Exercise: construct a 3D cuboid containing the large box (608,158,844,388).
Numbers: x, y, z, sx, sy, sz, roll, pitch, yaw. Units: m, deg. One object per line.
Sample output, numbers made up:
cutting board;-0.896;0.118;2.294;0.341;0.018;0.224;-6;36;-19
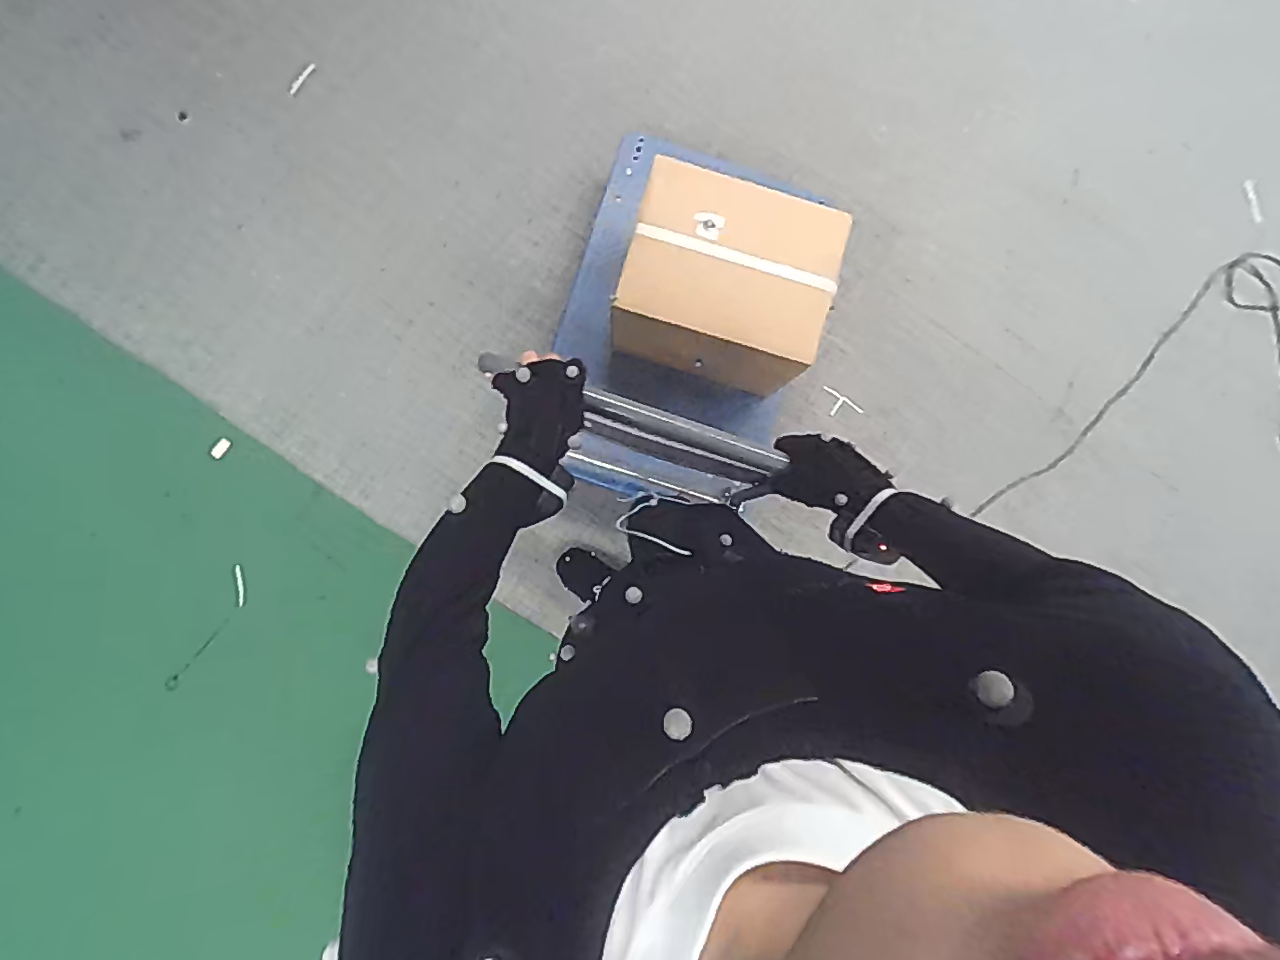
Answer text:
large box;0.167;-0.424;1.194;0.408;0.320;0.320;16;87;-1
